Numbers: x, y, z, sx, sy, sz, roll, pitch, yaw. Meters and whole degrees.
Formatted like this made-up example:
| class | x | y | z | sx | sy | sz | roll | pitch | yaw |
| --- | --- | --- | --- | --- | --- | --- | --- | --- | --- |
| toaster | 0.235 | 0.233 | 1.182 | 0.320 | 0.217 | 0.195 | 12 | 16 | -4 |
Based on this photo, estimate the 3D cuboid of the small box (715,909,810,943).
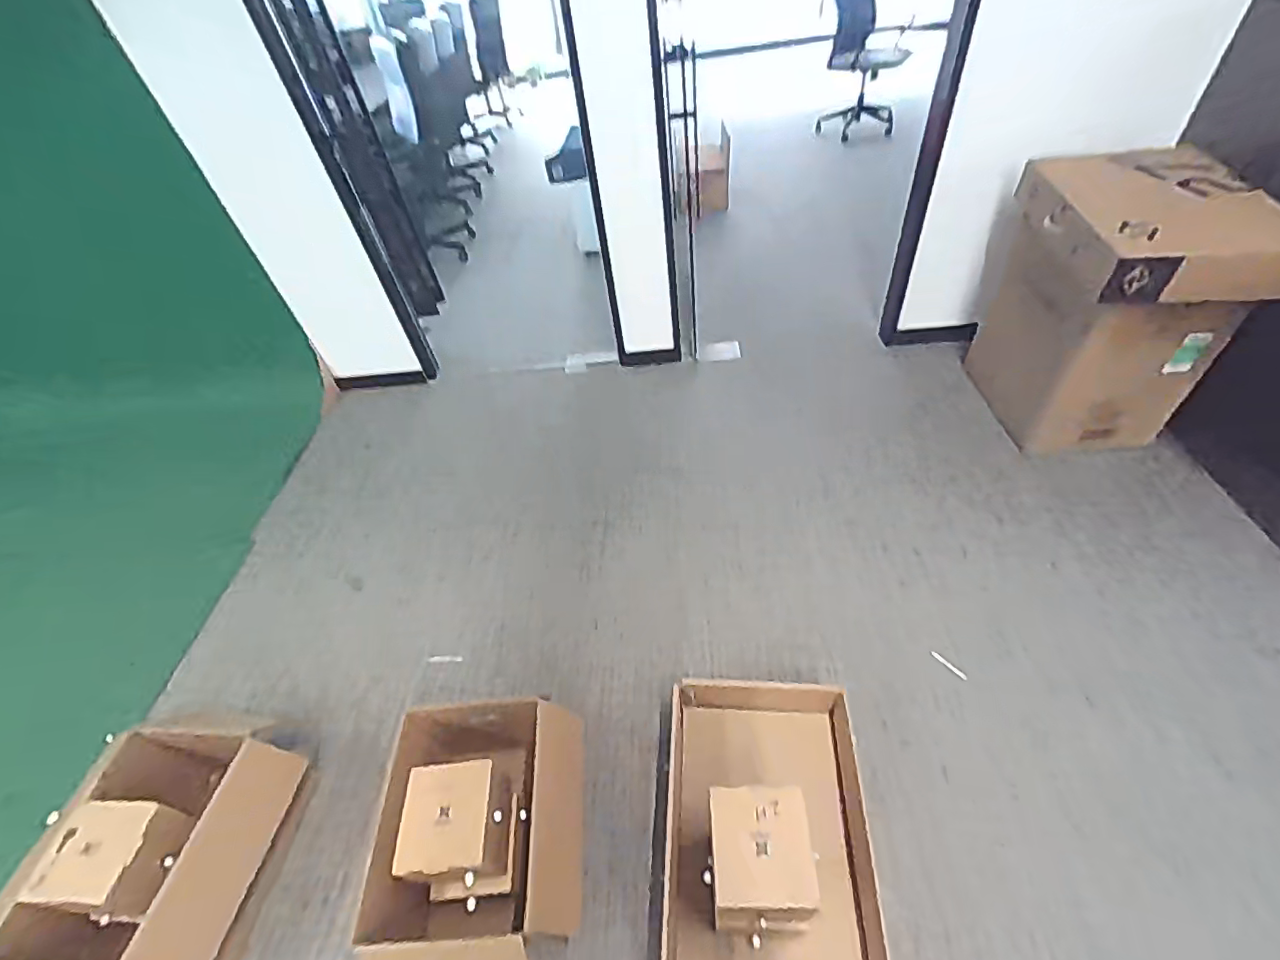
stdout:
| class | x | y | z | sx | sy | sz | roll | pitch | yaw |
| --- | --- | --- | --- | --- | --- | --- | --- | --- | --- |
| small box | 0.231 | 0.788 | 1.069 | 0.168 | 0.176 | 0.179 | -1 | 45 | 7 |

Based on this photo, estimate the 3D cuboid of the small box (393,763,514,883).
| class | x | y | z | sx | sy | sz | roll | pitch | yaw |
| --- | --- | --- | --- | --- | --- | --- | --- | --- | --- |
| small box | -0.357 | 0.684 | 1.071 | 0.168 | 0.176 | 0.179 | -7 | 48 | 1 |

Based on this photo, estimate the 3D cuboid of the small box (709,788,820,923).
| class | x | y | z | sx | sy | sz | roll | pitch | yaw |
| --- | --- | --- | --- | --- | --- | --- | --- | --- | --- |
| small box | 0.211 | 0.667 | 0.959 | 0.168 | 0.176 | 0.179 | -3 | 45 | 4 |
